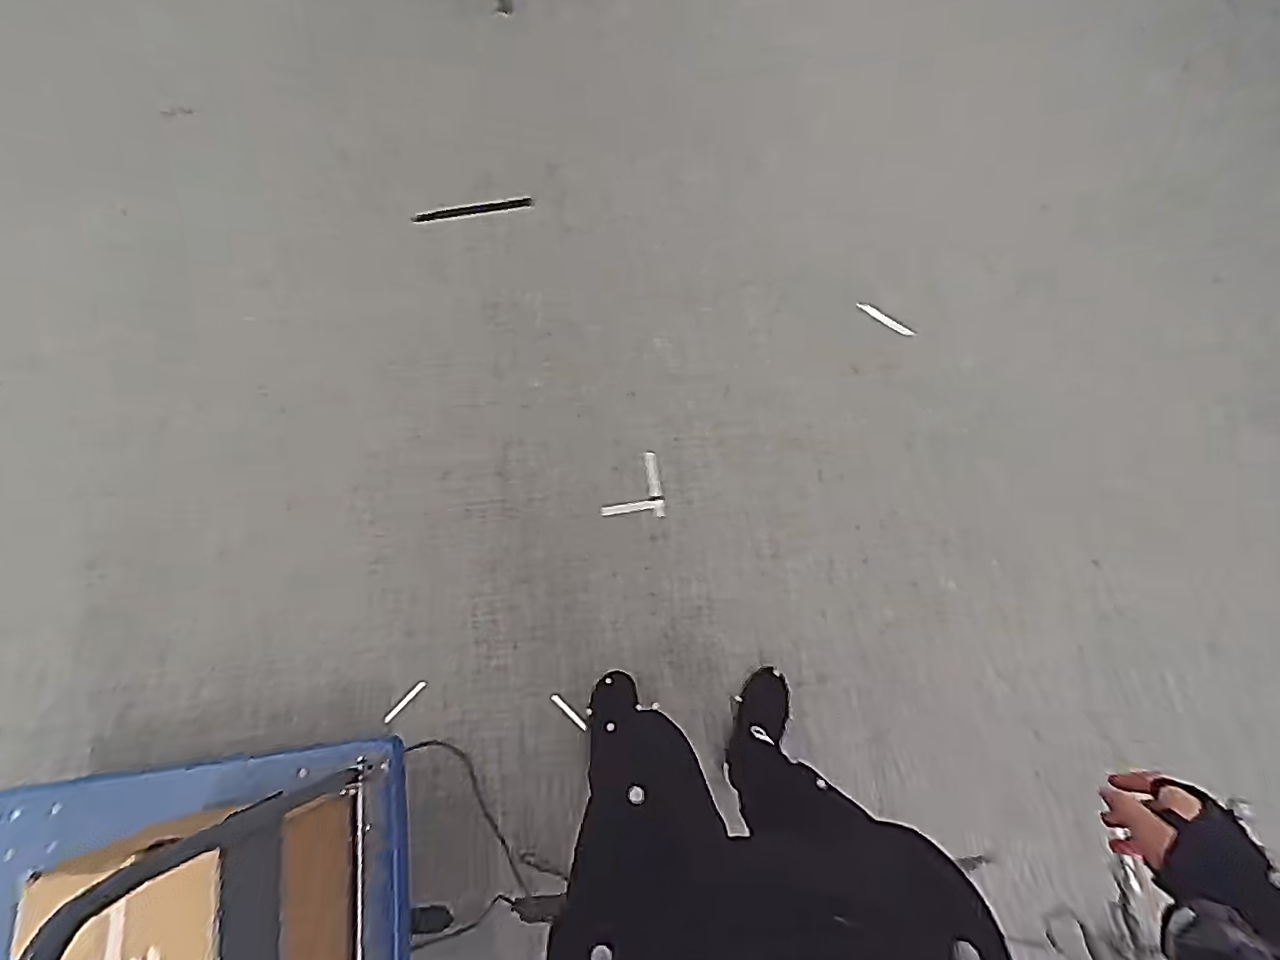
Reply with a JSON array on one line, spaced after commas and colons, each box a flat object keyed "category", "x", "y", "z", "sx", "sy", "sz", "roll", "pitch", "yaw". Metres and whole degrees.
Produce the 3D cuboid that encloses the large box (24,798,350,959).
[{"category": "large box", "x": -0.703, "y": 0.799, "z": 0.880, "sx": 0.320, "sy": 0.320, "sz": 0.408, "roll": -8, "pitch": 73, "yaw": -1}]
